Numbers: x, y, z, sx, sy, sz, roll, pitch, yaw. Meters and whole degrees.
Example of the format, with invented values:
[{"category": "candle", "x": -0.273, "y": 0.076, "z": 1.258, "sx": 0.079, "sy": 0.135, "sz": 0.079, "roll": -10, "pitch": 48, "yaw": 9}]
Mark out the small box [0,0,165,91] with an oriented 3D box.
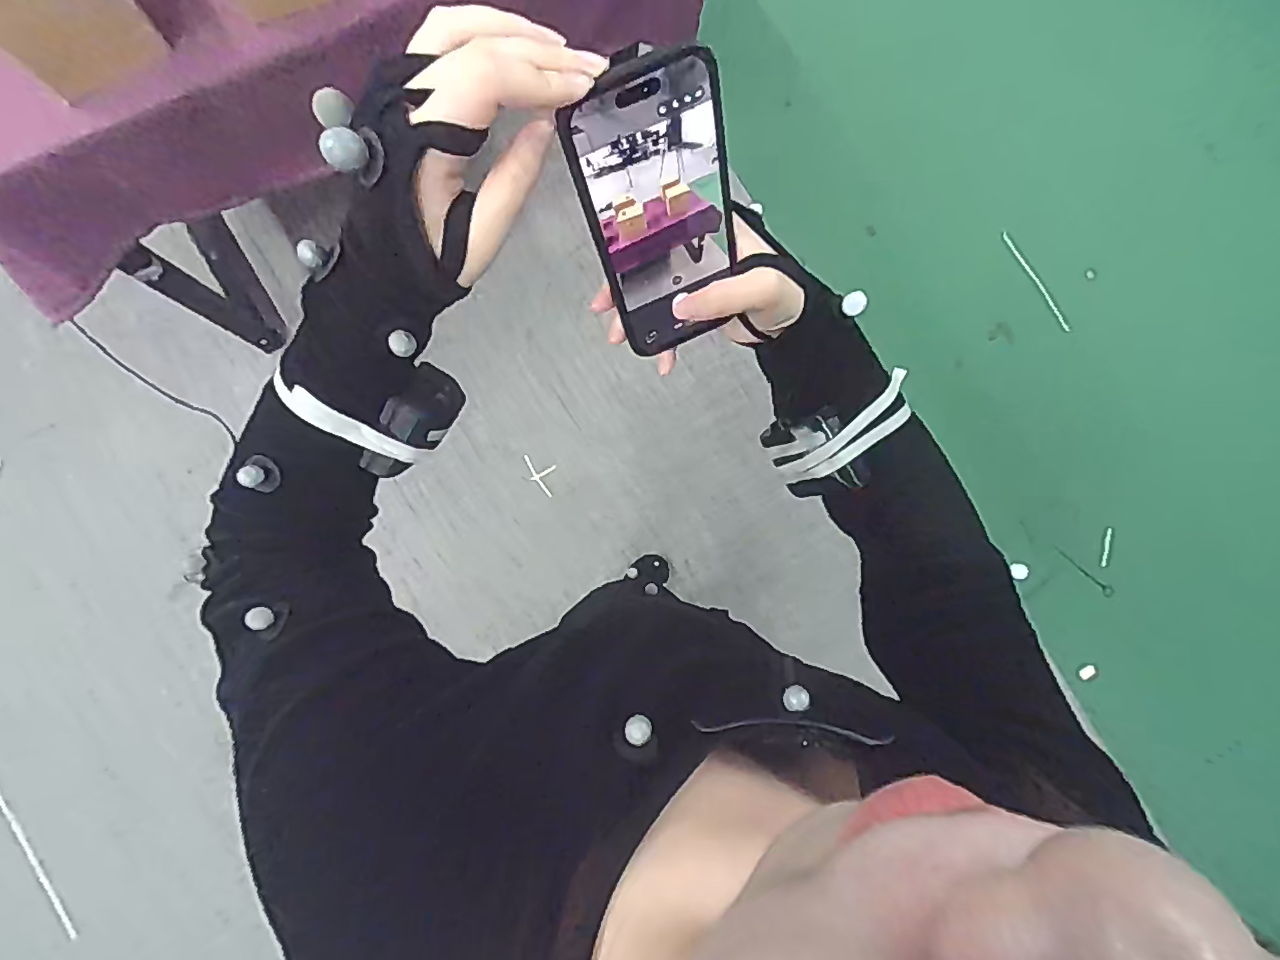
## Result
[{"category": "small box", "x": -0.815, "y": -0.682, "z": 0.727, "sx": 0.179, "sy": 0.176, "sz": 0.168, "roll": -36, "pitch": 87, "yaw": -9}]
